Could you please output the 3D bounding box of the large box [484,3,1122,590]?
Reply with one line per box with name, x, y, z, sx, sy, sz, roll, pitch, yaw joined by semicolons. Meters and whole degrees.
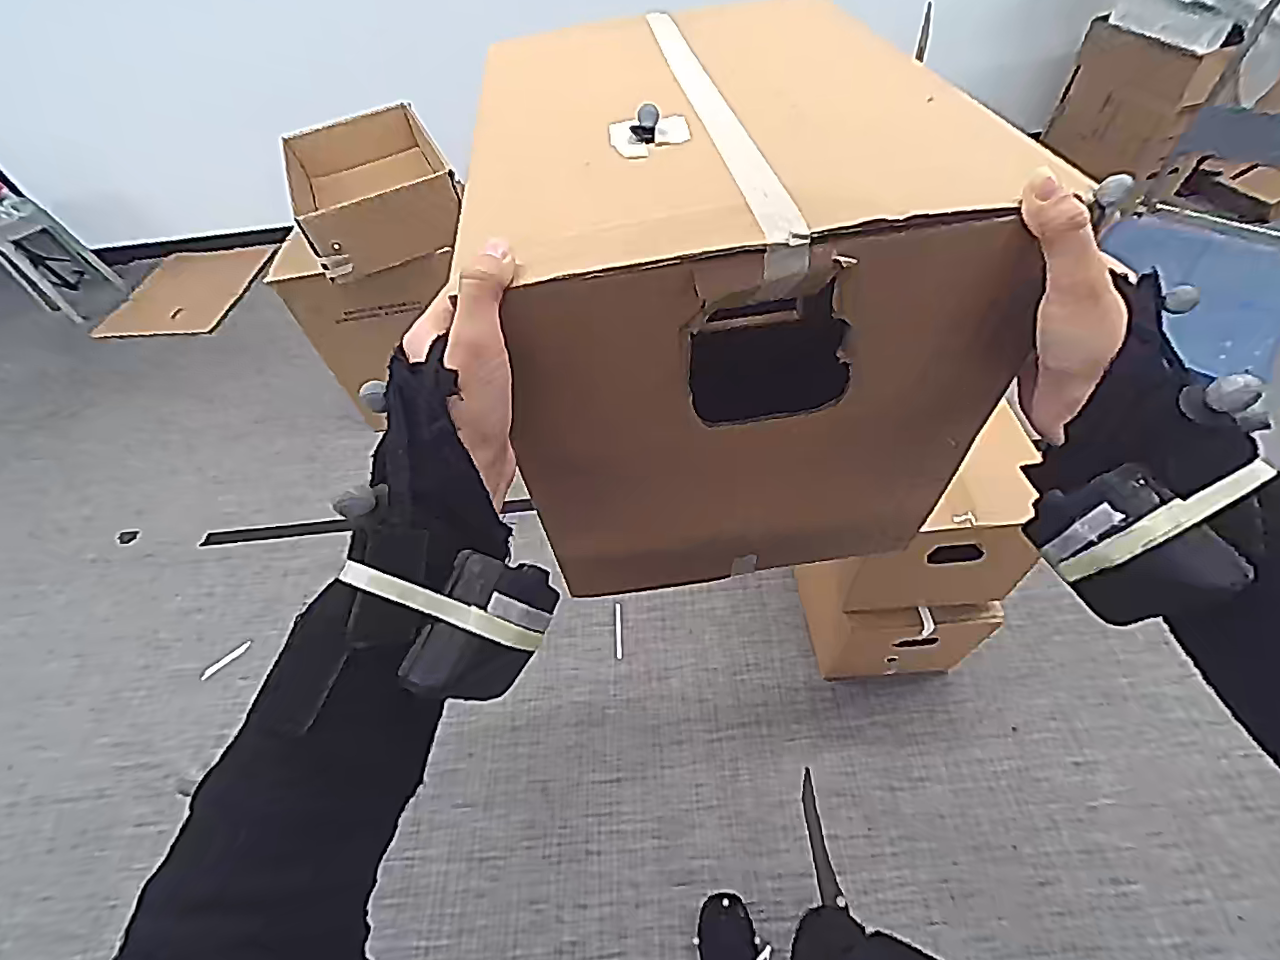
large box;0.060;-0.166;0.487;0.320;0.320;0.408;-10;52;-1
